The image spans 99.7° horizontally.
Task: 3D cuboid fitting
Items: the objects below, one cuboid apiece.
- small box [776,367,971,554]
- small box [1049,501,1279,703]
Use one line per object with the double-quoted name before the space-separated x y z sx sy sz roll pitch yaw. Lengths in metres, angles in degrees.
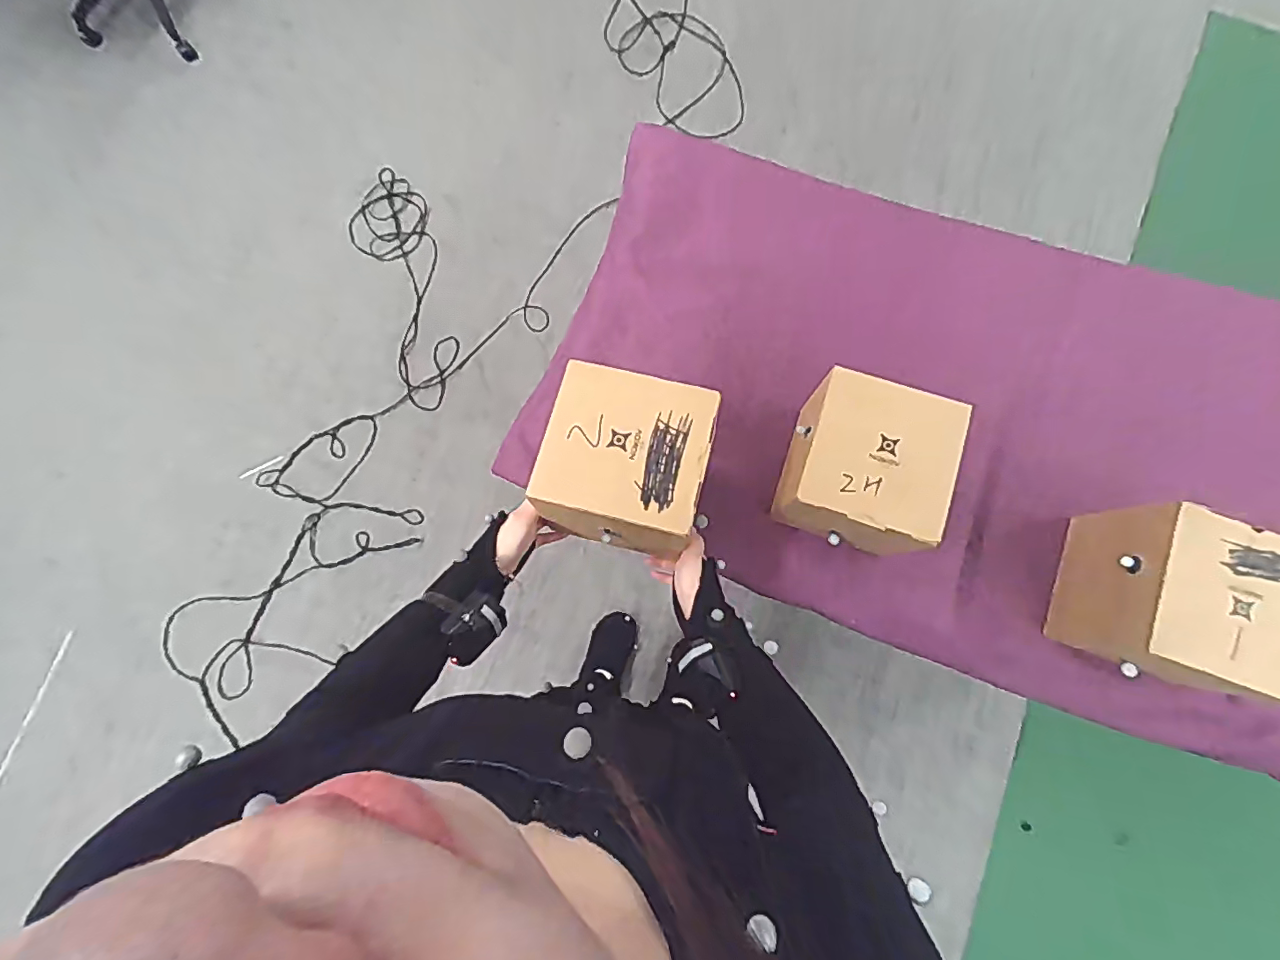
"small box" 0.288 -0.015 0.703 0.168 0.176 0.179 18 79 7
"small box" 0.646 0.143 0.657 0.168 0.176 0.179 20 81 7
